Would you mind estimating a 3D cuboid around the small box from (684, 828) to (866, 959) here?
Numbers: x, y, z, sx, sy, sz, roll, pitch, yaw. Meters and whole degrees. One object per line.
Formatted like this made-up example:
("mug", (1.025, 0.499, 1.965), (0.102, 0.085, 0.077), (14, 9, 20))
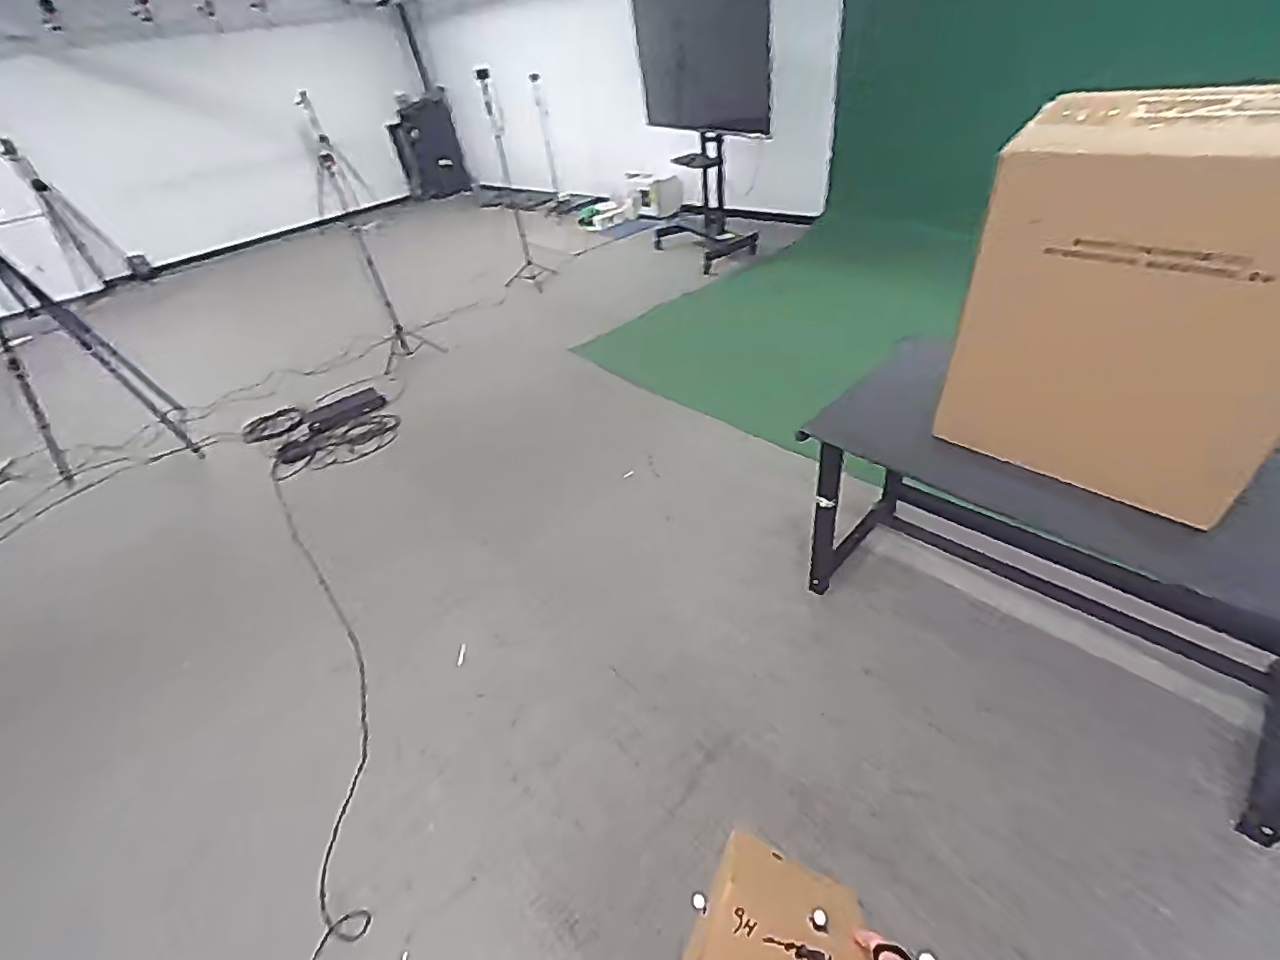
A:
("small box", (0.149, 0.554, 0.624), (0.168, 0.176, 0.179), (22, 82, 17))
